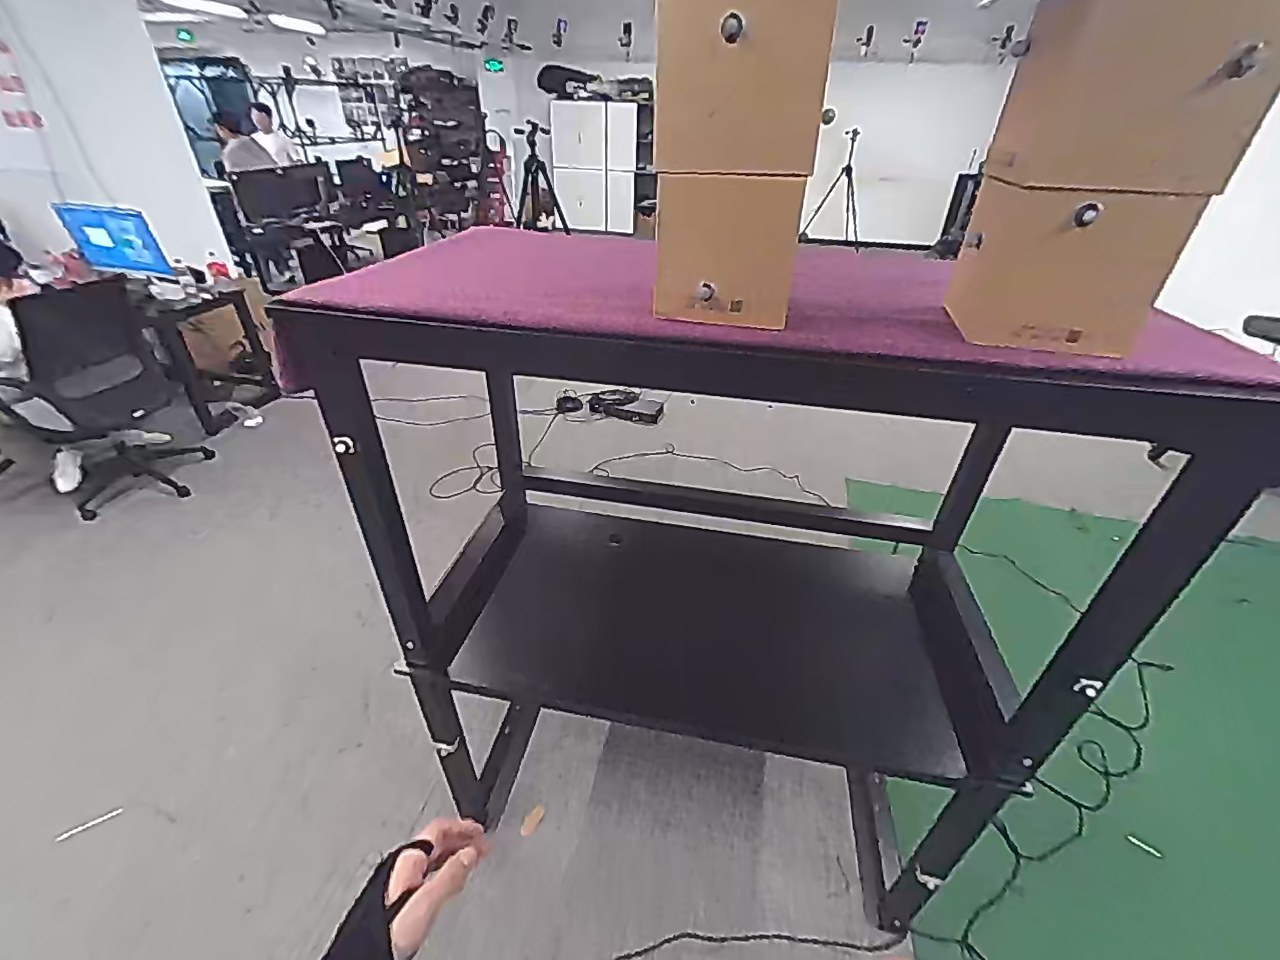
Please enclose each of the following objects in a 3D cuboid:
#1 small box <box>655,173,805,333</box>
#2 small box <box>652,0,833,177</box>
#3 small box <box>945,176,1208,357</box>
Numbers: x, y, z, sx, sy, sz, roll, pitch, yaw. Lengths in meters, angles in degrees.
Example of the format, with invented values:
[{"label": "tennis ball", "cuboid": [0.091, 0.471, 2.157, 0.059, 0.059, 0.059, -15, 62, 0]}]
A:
[{"label": "small box", "cuboid": [0.116, -0.303, 0.702, 0.168, 0.176, 0.179, 8, 34, 12]}, {"label": "small box", "cuboid": [0.114, -0.439, 0.610, 0.179, 0.176, 0.168, 7, 33, 11]}, {"label": "small box", "cuboid": [0.490, -0.261, 0.647, 0.168, 0.176, 0.179, 8, 34, 13]}]
